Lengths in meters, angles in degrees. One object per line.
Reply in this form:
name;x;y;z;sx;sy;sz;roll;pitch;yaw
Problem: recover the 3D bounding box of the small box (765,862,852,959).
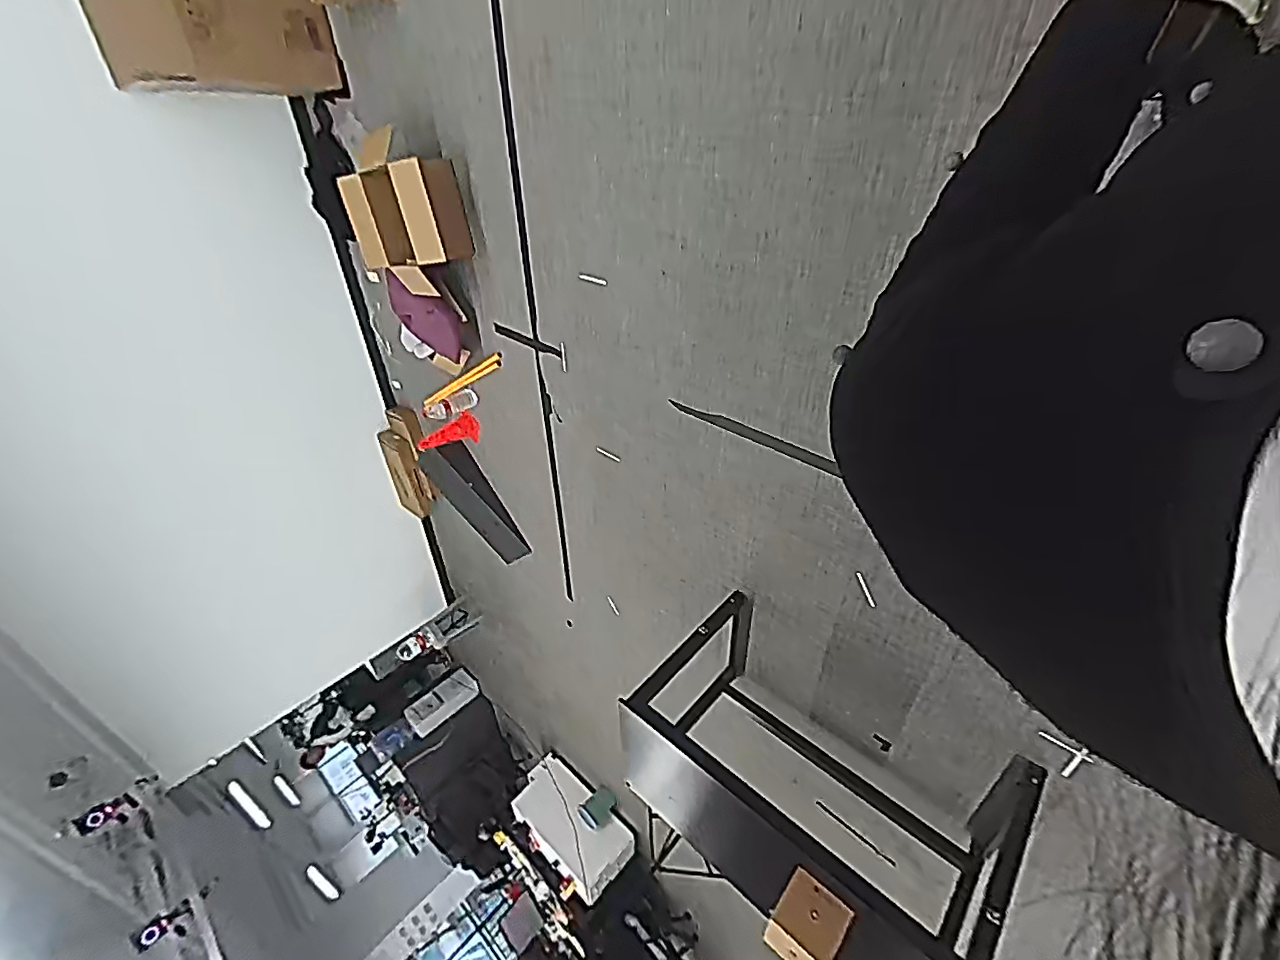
small box;0.476;1.235;1.528;0.168;0.176;0.179;27;135;34
